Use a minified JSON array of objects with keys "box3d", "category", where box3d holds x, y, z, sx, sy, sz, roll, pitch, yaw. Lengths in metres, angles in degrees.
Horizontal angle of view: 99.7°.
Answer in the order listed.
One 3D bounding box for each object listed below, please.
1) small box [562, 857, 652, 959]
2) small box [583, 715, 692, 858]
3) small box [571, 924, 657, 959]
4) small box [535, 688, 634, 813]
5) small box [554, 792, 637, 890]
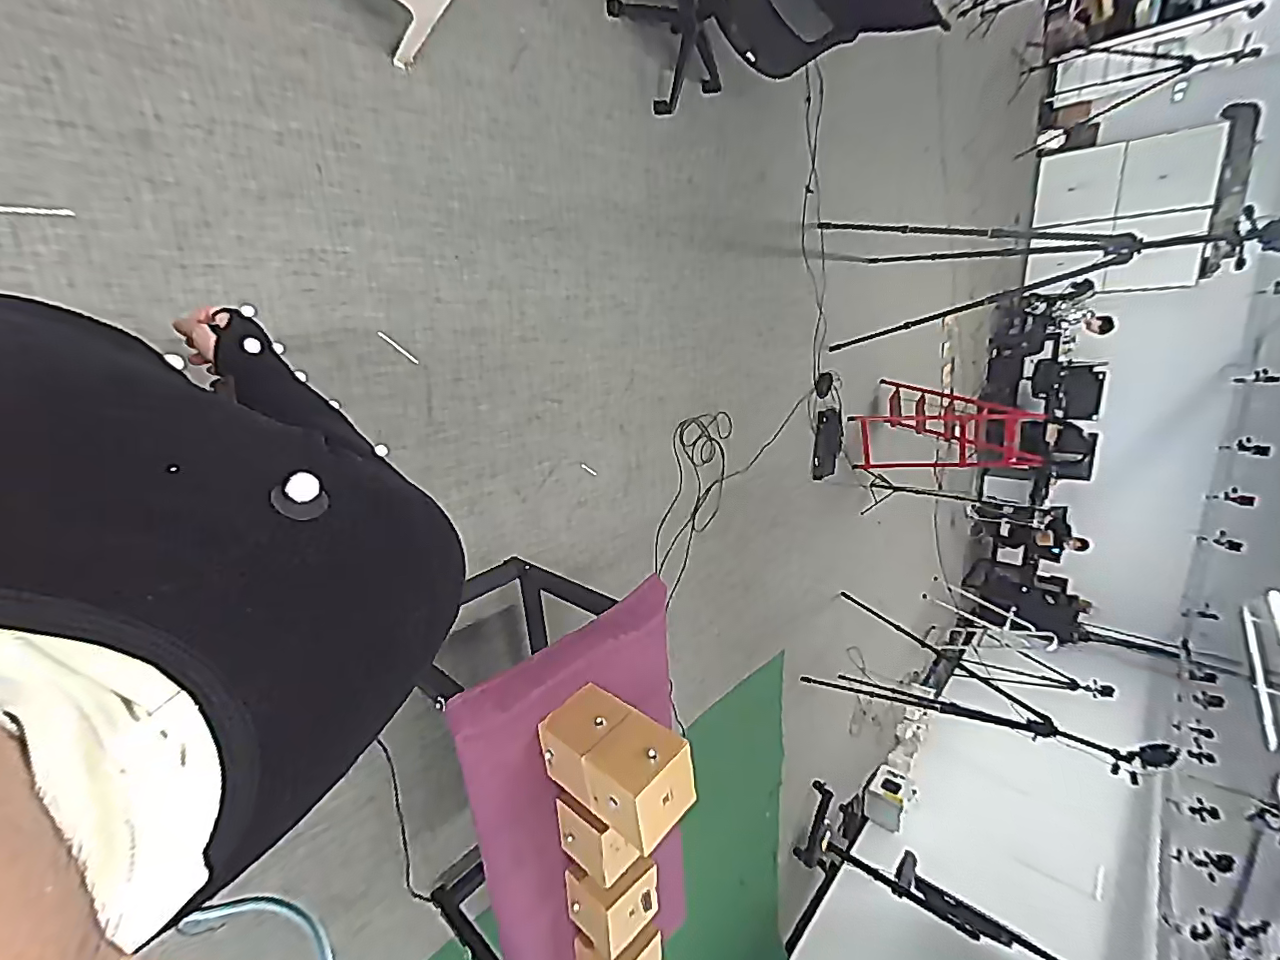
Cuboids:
[{"box3d":[-0.086,1.095,1.437,0.179,0.176,0.168,-16,110,-44],"category":"small box"},{"box3d":[-0.010,0.658,1.182,0.179,0.176,0.168,-25,116,-42],"category":"small box"},{"box3d":[-0.071,1.330,1.504,0.179,0.176,0.168,-17,110,-45],"category":"small box"},{"box3d":[-0.125,0.634,1.294,0.179,0.176,0.168,-25,116,-41],"category":"small box"},{"box3d":[-0.095,0.867,1.376,0.179,0.176,0.168,-18,111,-44],"category":"small box"}]
